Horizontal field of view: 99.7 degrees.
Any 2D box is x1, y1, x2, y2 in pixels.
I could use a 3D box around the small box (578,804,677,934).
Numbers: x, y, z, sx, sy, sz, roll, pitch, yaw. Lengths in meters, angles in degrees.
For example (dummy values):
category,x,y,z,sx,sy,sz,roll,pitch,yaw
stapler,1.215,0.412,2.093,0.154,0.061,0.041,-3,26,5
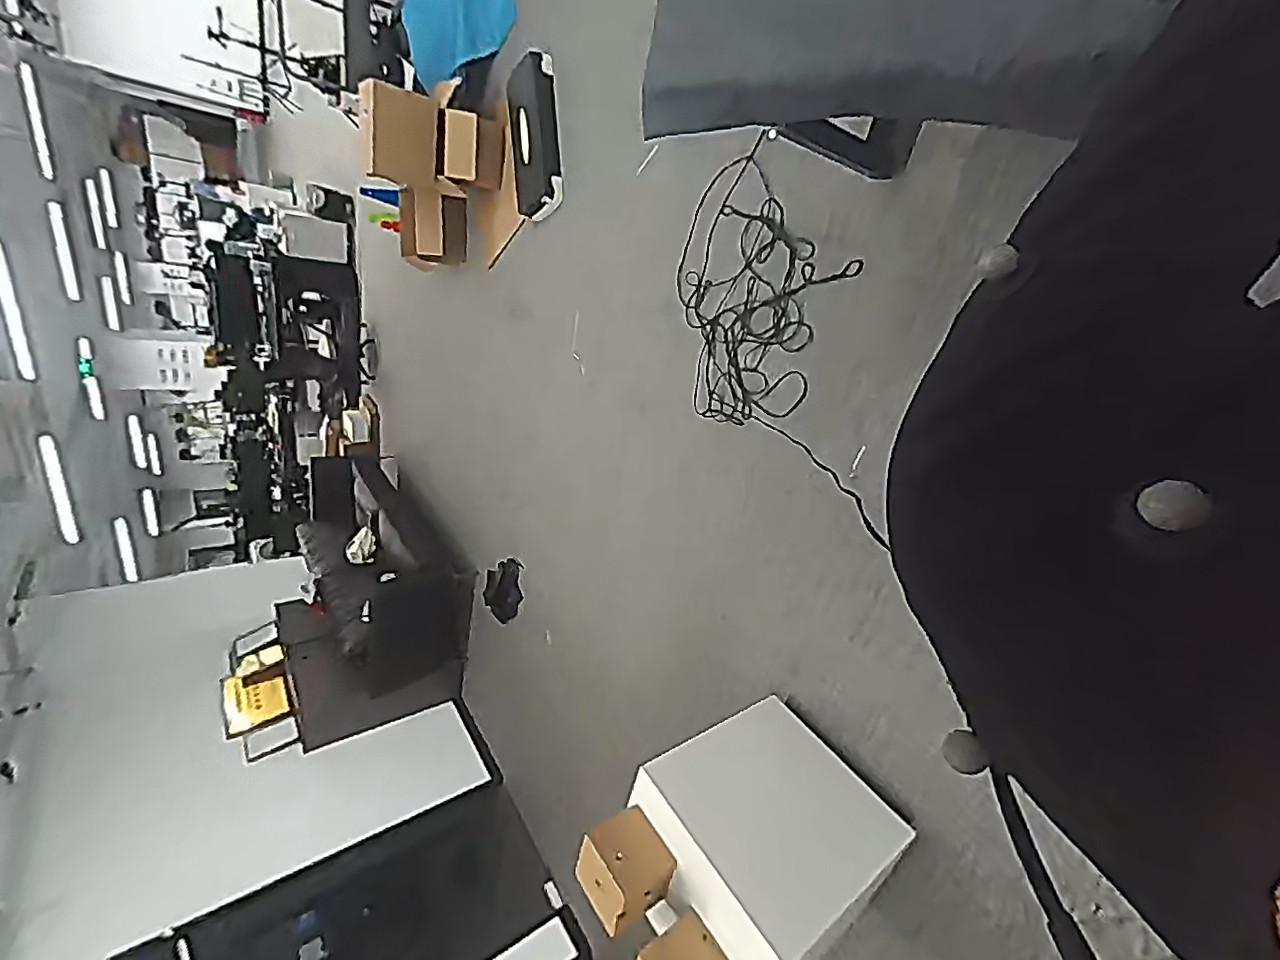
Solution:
category,x,y,z,sx,sy,sz,roll,pitch,yaw
small box,-0.031,0.972,1.368,0.179,0.176,0.168,37,122,43
